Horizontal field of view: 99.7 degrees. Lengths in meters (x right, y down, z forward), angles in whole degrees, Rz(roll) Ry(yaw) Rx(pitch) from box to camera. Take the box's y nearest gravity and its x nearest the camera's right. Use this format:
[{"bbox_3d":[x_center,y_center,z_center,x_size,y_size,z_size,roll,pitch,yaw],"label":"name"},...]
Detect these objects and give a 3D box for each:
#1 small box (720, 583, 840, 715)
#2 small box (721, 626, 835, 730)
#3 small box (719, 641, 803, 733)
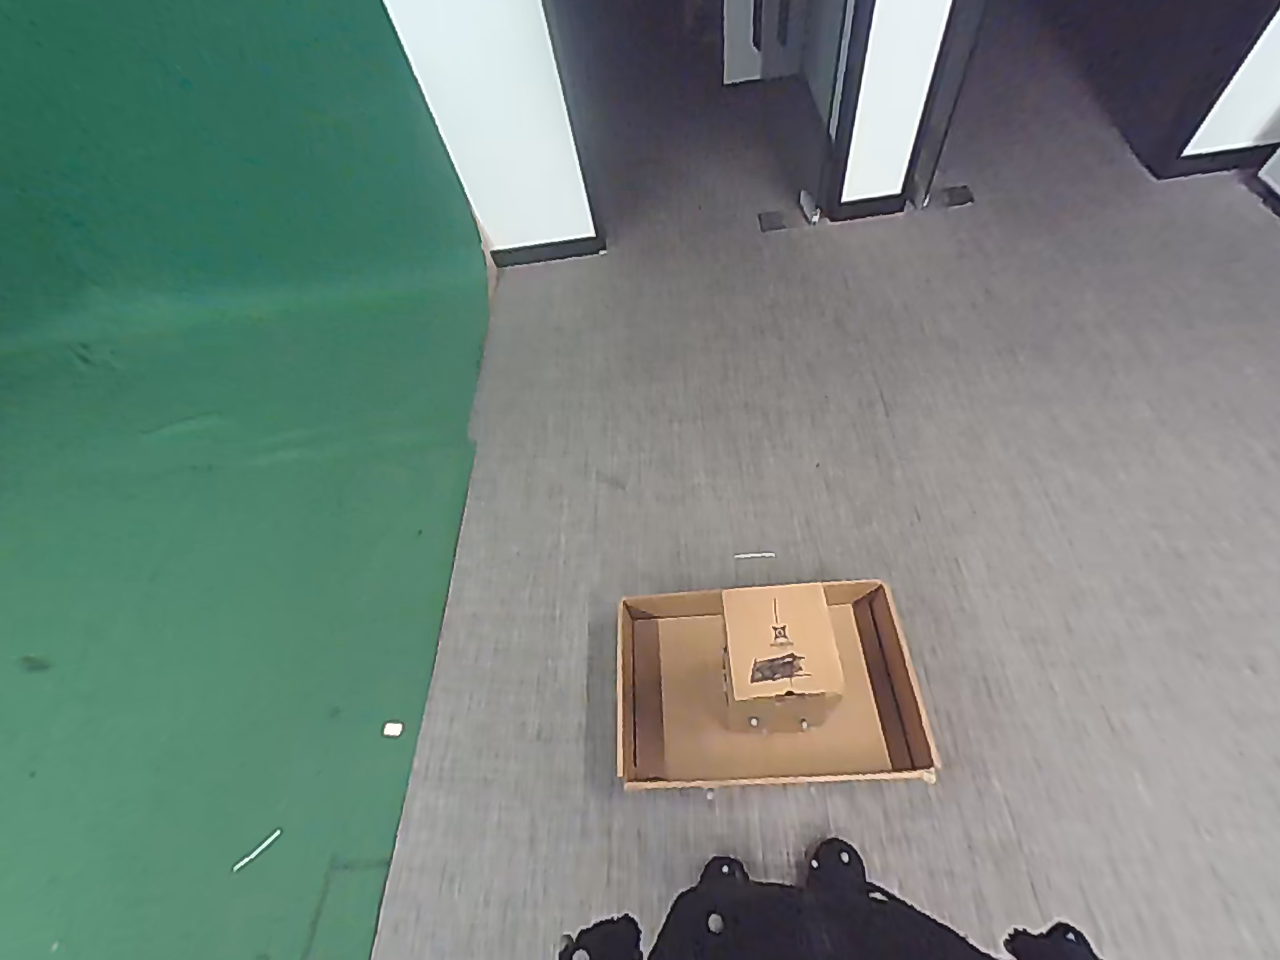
[{"bbox_3d":[0.228,0.293,0.914,0.168,0.176,0.179,-6,55,6],"label":"small box"},{"bbox_3d":[0.253,0.373,1.037,0.179,0.176,0.168,-8,56,4],"label":"small box"},{"bbox_3d":[0.274,0.455,1.198,0.179,0.176,0.168,-7,56,5],"label":"small box"}]
